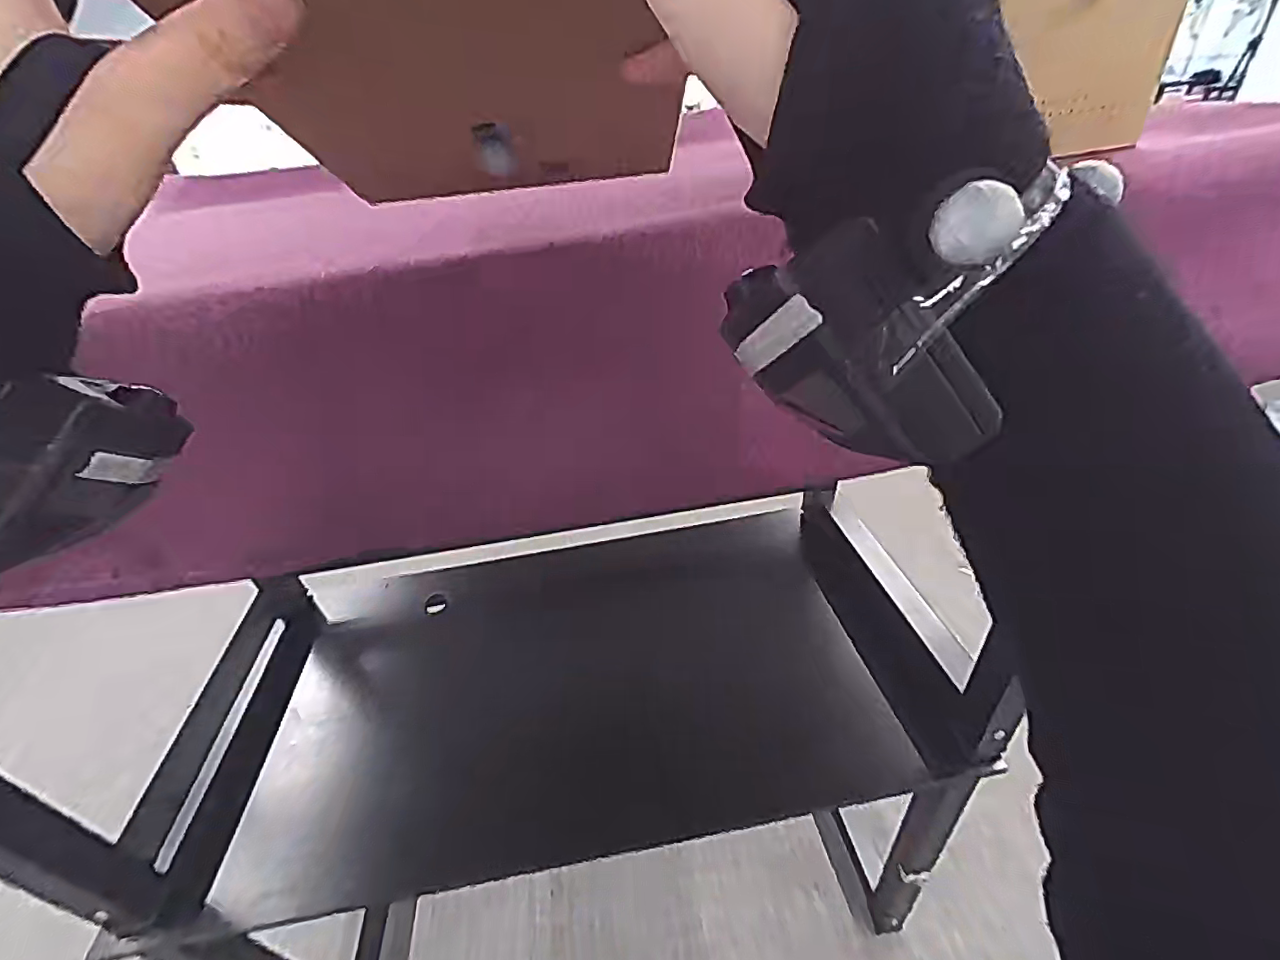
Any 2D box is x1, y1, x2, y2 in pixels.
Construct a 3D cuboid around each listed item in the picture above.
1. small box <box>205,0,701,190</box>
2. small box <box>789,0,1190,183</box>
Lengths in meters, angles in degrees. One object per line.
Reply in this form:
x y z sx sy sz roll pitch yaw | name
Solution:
-0.070 -0.236 0.194 0.168 0.179 0.176 -6 6 -1 | small box
0.204 -0.301 0.340 0.179 0.176 0.168 -9 35 -1 | small box
